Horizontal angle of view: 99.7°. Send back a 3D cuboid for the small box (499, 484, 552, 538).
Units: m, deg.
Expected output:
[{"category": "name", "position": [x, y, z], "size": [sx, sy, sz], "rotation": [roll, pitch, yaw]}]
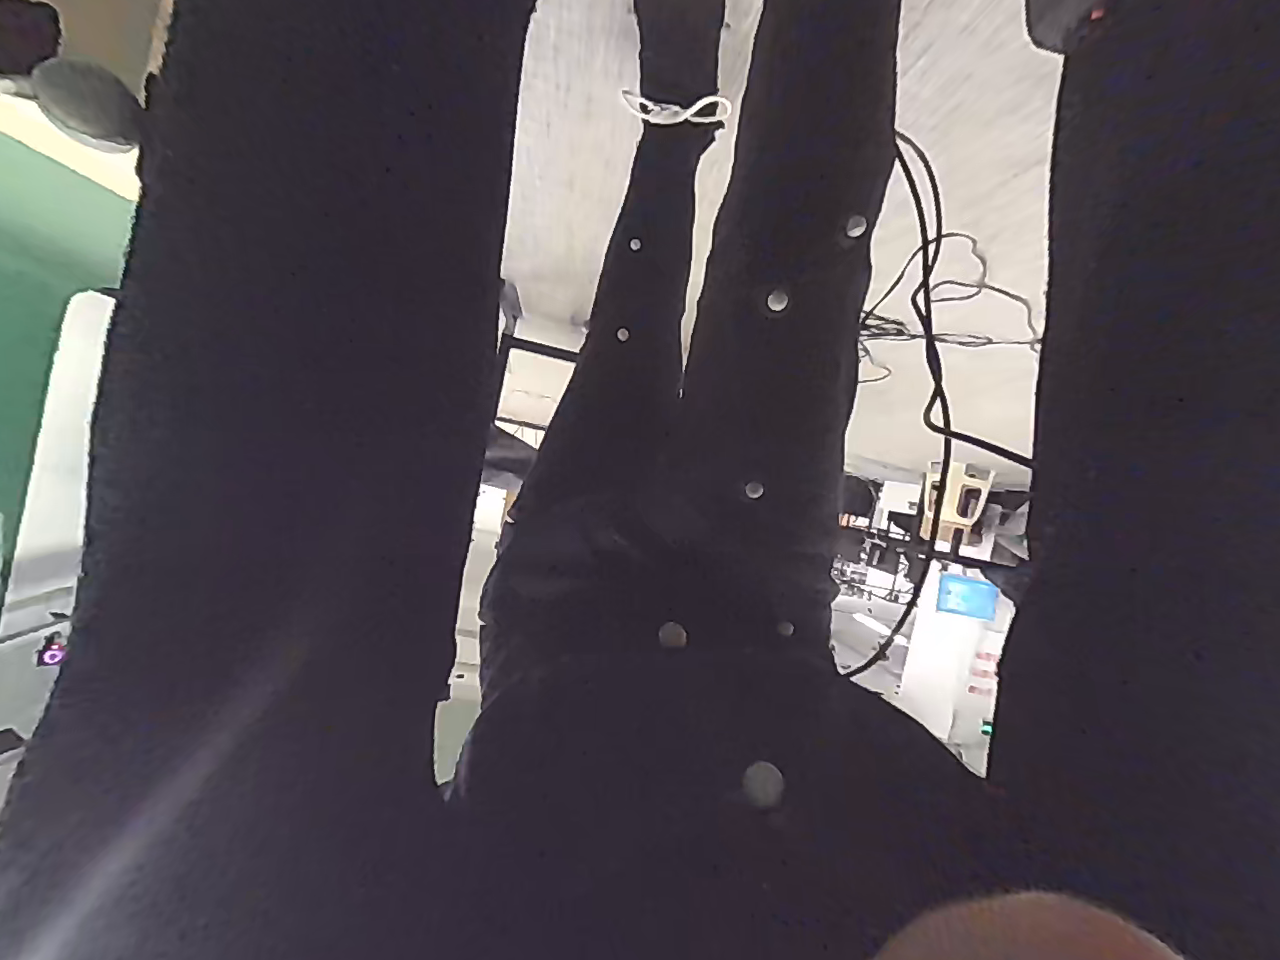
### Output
[{"category": "small box", "position": [-0.442, 0.117, 2.109], "size": [0.179, 0.176, 0.168], "rotation": [12, -179, -11]}]
